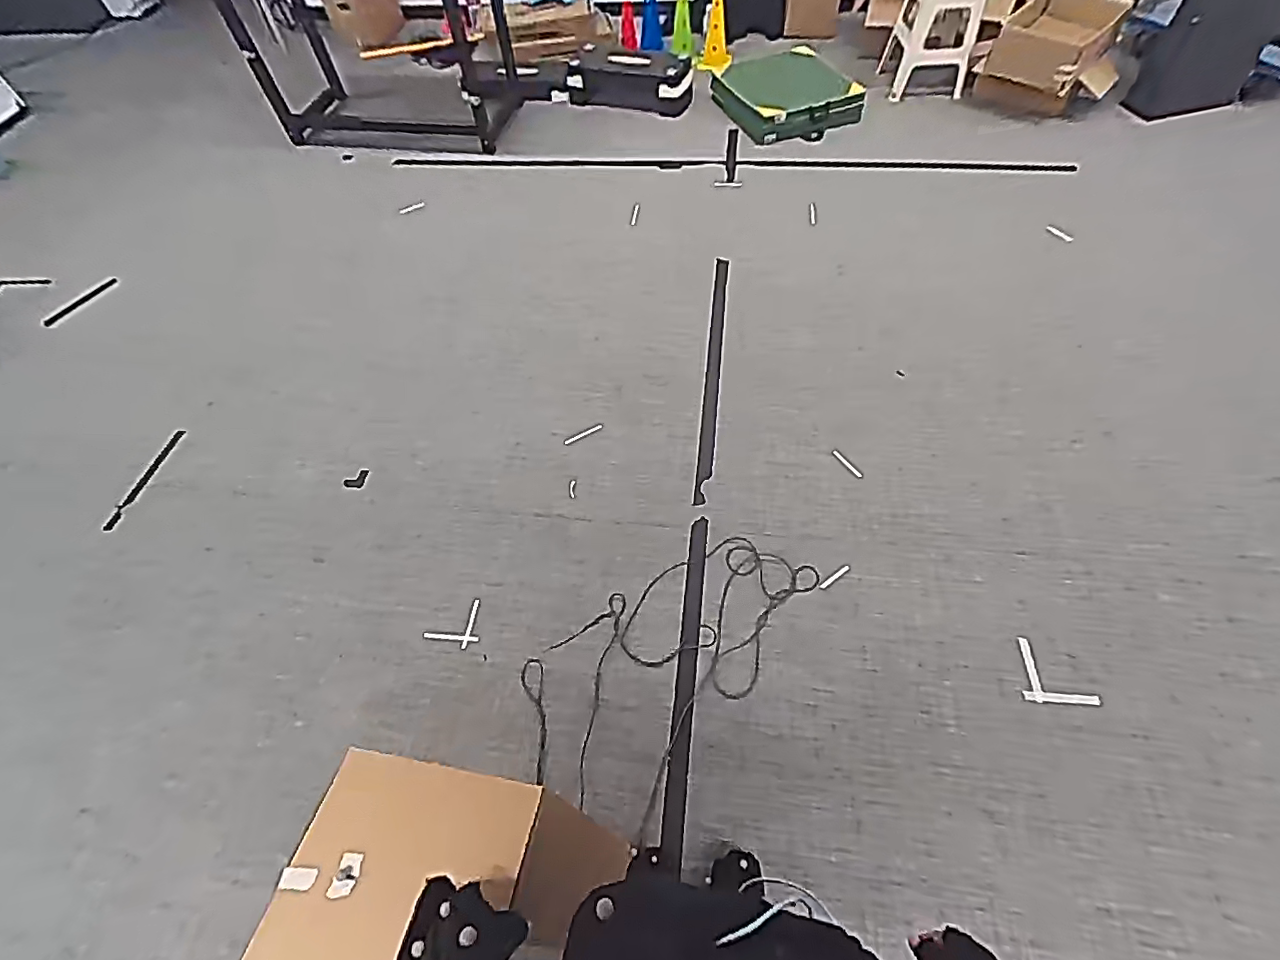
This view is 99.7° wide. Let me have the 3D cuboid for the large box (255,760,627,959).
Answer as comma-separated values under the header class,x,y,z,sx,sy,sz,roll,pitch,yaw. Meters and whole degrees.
class,x,y,z,sx,sy,sz,roll,pitch,yaw
large box,-0.247,0.632,0.766,0.320,0.408,0.320,1,50,21
